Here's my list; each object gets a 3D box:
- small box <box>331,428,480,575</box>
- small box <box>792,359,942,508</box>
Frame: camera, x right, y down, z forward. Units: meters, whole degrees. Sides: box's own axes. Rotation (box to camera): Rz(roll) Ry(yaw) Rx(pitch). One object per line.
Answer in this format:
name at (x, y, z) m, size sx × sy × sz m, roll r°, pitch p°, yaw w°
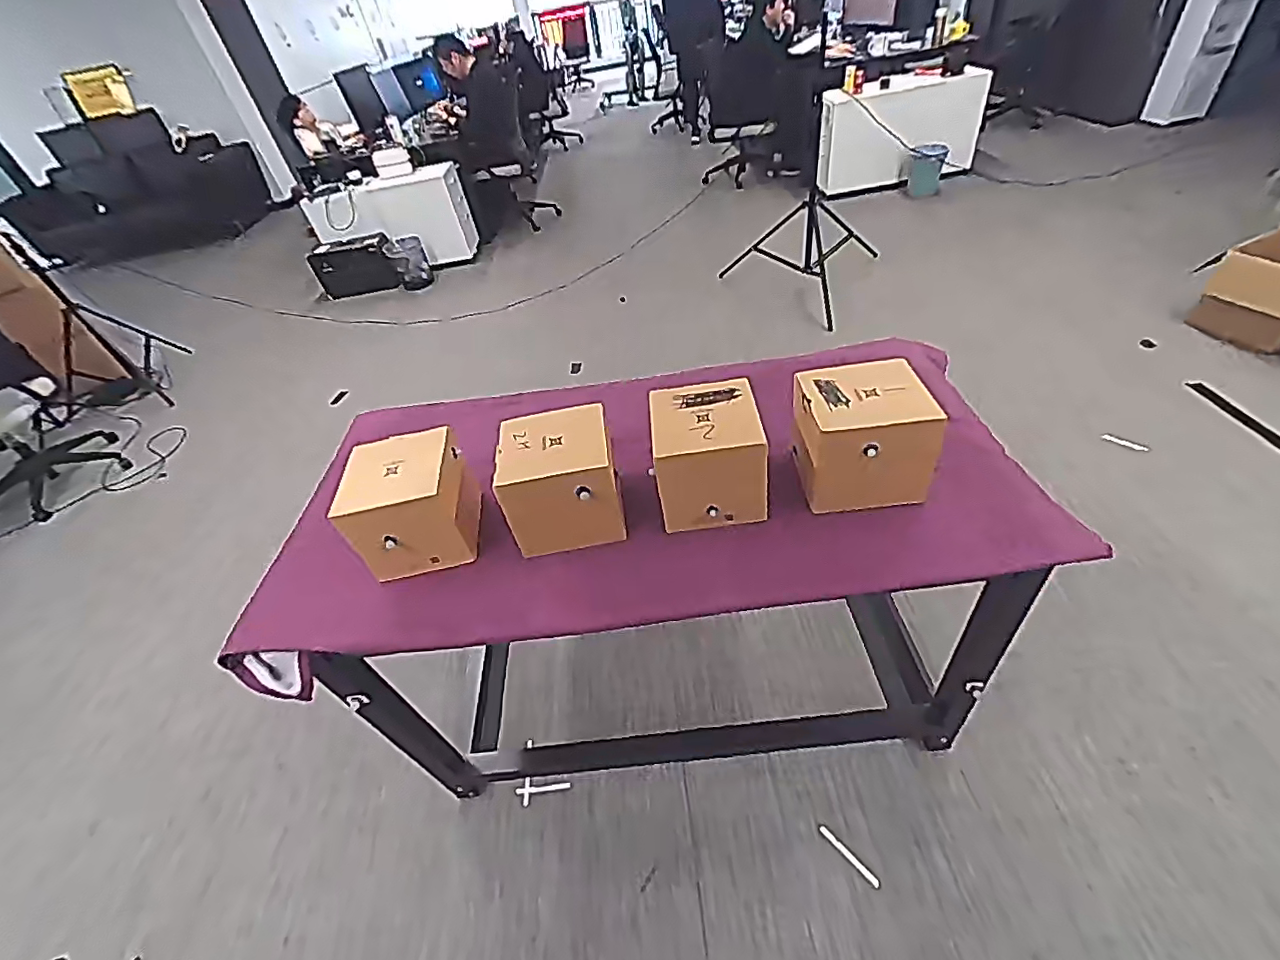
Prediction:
small box at (-0.380, 0.043, 0.915) m, size 0.168 × 0.176 × 0.179 m, roll -13°, pitch 42°, yaw -1°
small box at (0.347, -0.070, 0.867) m, size 0.179 × 0.176 × 0.168 m, roll -6°, pitch 41°, yaw 5°
